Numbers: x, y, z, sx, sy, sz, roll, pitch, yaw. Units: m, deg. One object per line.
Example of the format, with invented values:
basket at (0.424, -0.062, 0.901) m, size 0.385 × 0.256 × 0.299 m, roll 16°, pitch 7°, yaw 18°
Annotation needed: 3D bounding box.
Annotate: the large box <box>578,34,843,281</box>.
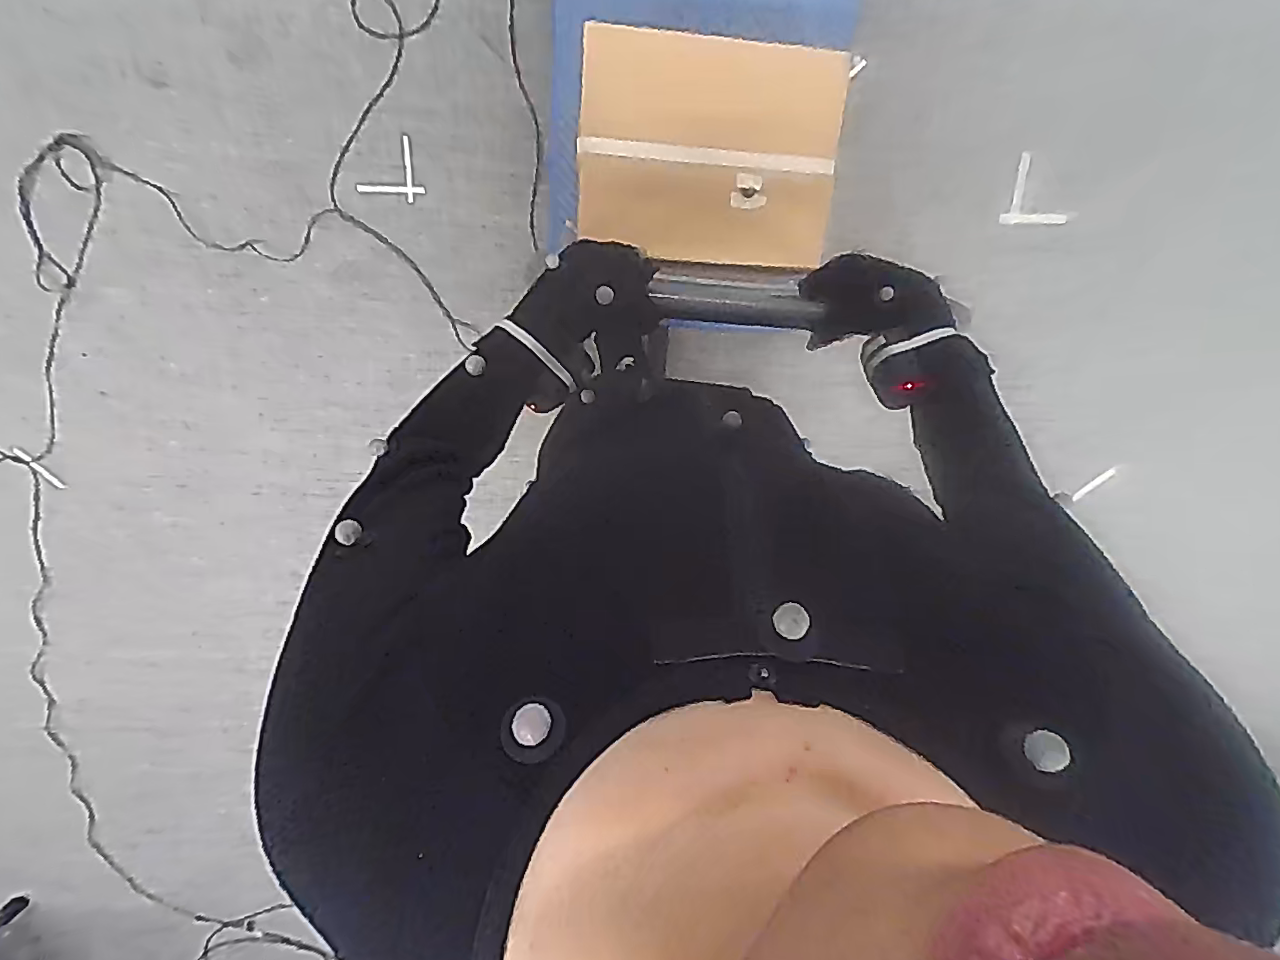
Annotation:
large box at (0.091, -0.543, 0.986) m, size 0.408 × 0.320 × 0.320 m, roll 2°, pitch 109°, yaw -5°
